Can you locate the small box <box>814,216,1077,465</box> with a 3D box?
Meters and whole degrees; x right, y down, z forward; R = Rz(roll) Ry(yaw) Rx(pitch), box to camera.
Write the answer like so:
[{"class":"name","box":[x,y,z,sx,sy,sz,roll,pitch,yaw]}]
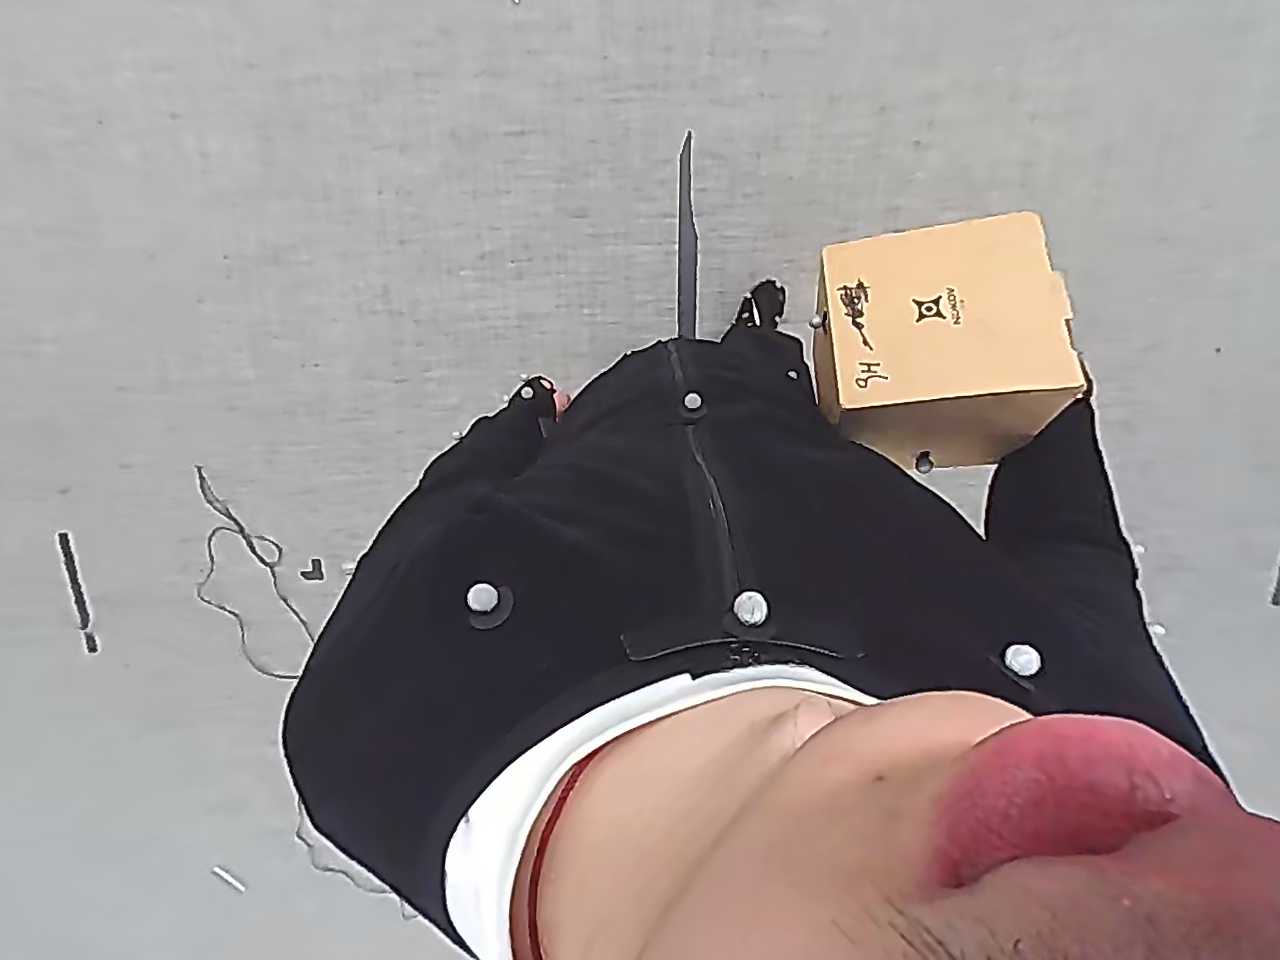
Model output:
[{"class":"small box","box":[0.274,-0.121,0.534,0.179,0.176,0.168,-4,70,13]}]
